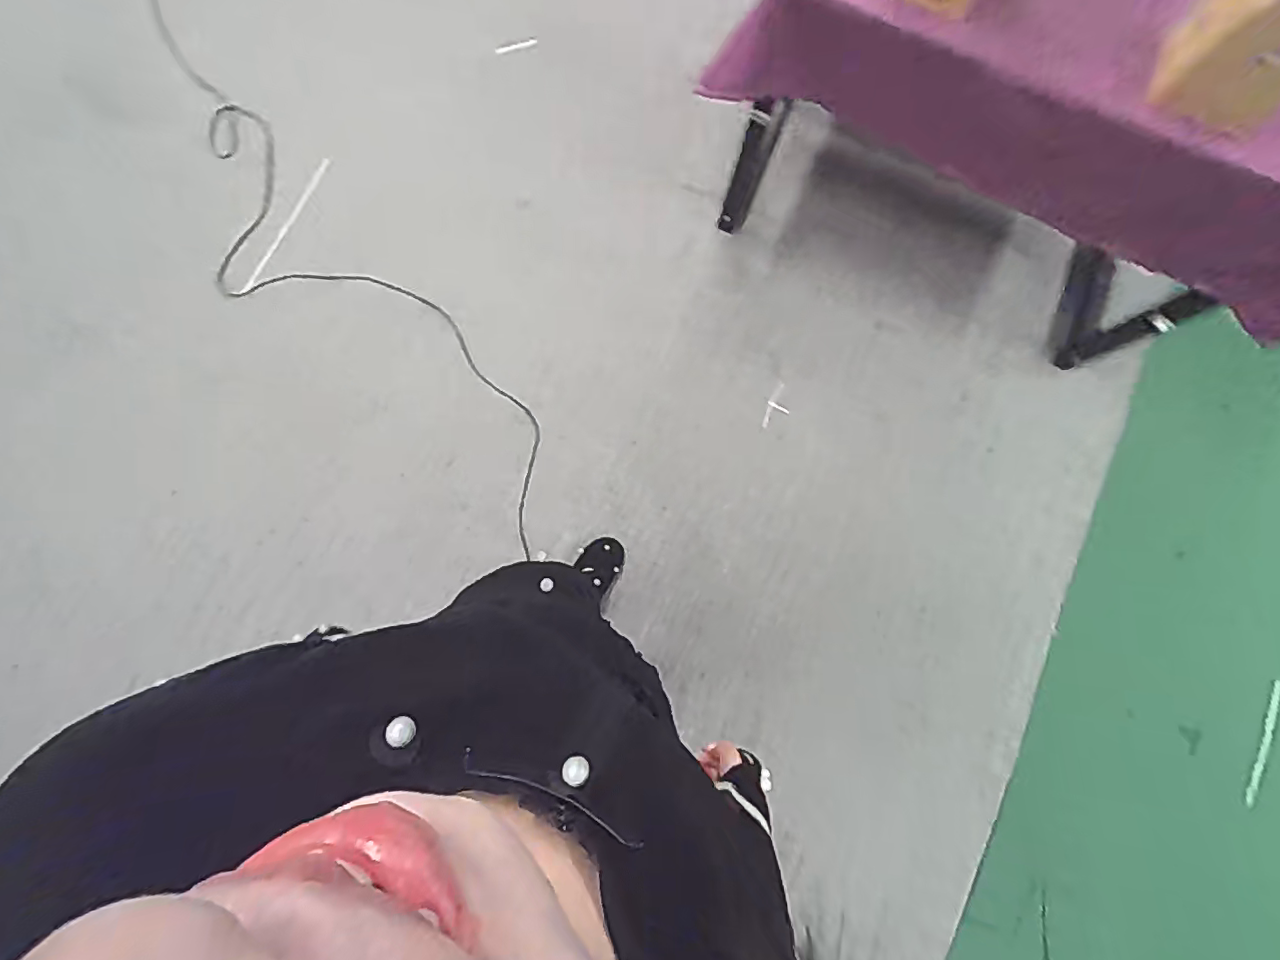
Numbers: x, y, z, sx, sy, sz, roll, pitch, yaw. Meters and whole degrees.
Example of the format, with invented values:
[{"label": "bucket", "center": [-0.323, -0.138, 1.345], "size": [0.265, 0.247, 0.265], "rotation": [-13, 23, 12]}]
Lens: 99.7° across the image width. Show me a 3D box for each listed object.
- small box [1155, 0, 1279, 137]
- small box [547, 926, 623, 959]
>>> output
[{"label": "small box", "center": [1.008, -0.706, 0.877], "size": [0.179, 0.176, 0.168], "rotation": [25, 81, 1]}, {"label": "small box", "center": [-0.117, 0.986, 0.982], "size": [0.168, 0.176, 0.179], "rotation": [32, 83, 3]}]
